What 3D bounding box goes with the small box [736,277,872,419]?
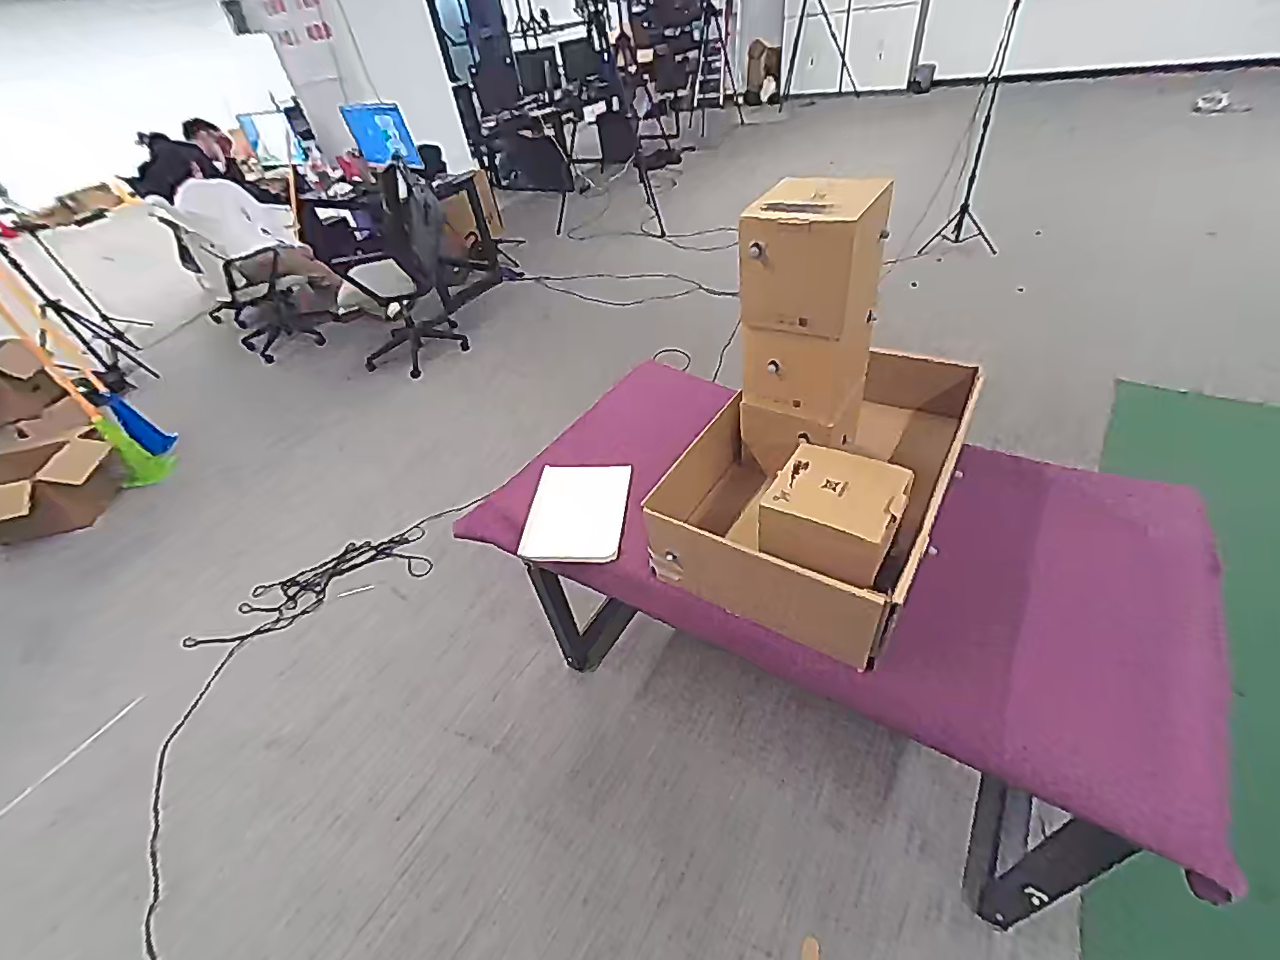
[{"bbox_3d":[0.285,-0.230,0.944,0.168,0.176,0.179,21,51,30],"label":"small box"}]
